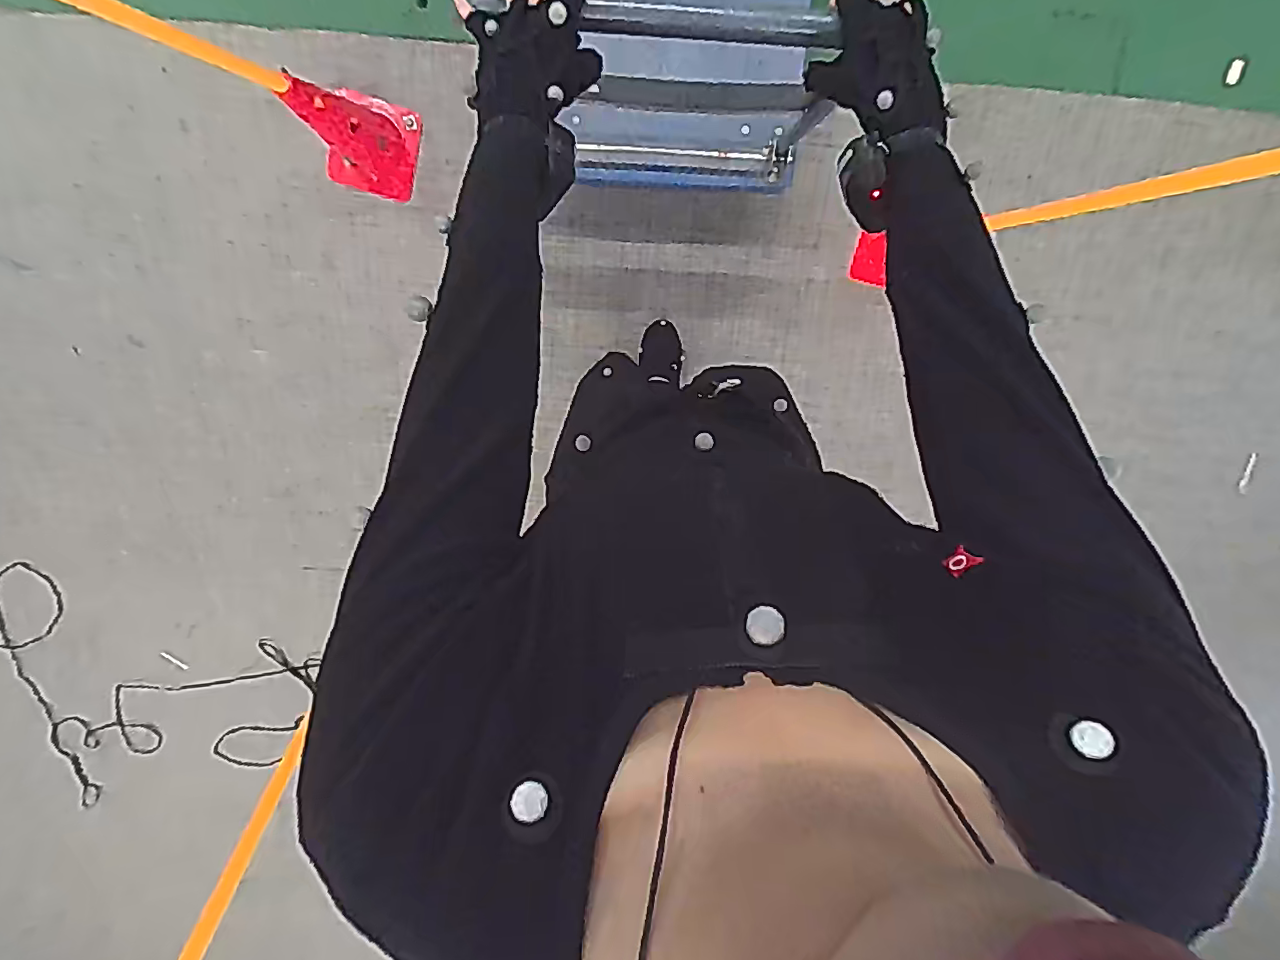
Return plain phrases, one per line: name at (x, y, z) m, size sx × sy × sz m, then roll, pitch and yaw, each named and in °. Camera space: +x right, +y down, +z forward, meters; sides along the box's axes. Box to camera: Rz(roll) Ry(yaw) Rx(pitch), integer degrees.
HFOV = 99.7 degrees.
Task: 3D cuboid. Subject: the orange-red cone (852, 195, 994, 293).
orange-red cone at (0.650, -0.538, 1.188) m, size 0.198 × 0.360 × 0.199 m, roll 14°, pitch 107°, yaw -5°
